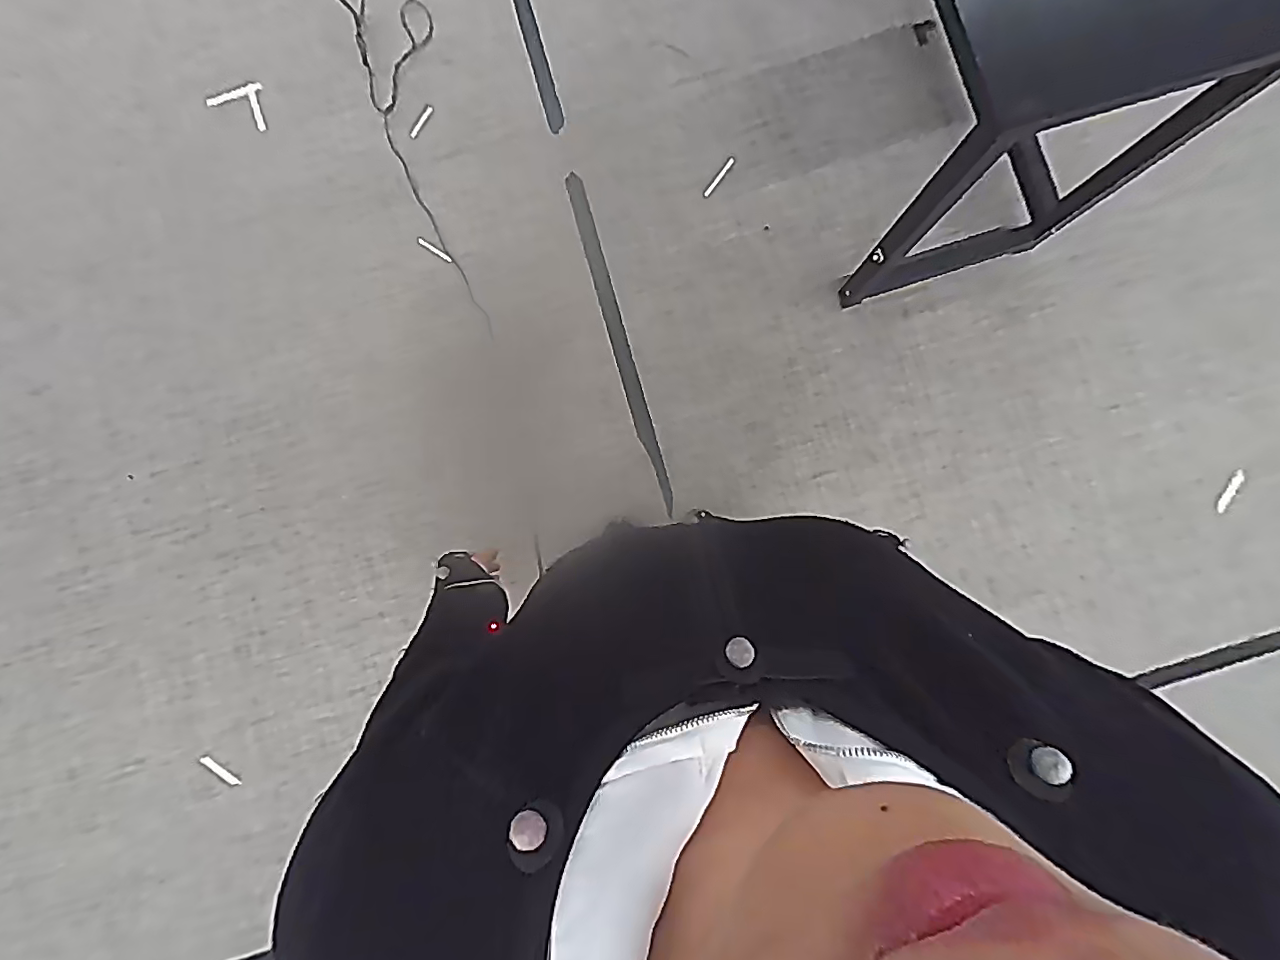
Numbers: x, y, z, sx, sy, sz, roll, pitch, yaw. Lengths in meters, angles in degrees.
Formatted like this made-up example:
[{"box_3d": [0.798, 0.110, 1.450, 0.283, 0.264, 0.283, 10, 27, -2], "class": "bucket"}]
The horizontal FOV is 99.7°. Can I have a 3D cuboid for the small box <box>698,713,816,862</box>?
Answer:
[{"box_3d": [0.220, 0.591, 1.062, 0.168, 0.176, 0.179, -19, 85, 1], "class": "small box"}]

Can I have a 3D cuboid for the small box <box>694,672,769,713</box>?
[{"box_3d": [0.242, 0.614, 1.389, 0.179, 0.176, 0.168, -17, 86, 0], "class": "small box"}]

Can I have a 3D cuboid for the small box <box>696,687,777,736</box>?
[{"box_3d": [0.233, 0.601, 1.226, 0.168, 0.176, 0.179, -19, 86, 1], "class": "small box"}]
